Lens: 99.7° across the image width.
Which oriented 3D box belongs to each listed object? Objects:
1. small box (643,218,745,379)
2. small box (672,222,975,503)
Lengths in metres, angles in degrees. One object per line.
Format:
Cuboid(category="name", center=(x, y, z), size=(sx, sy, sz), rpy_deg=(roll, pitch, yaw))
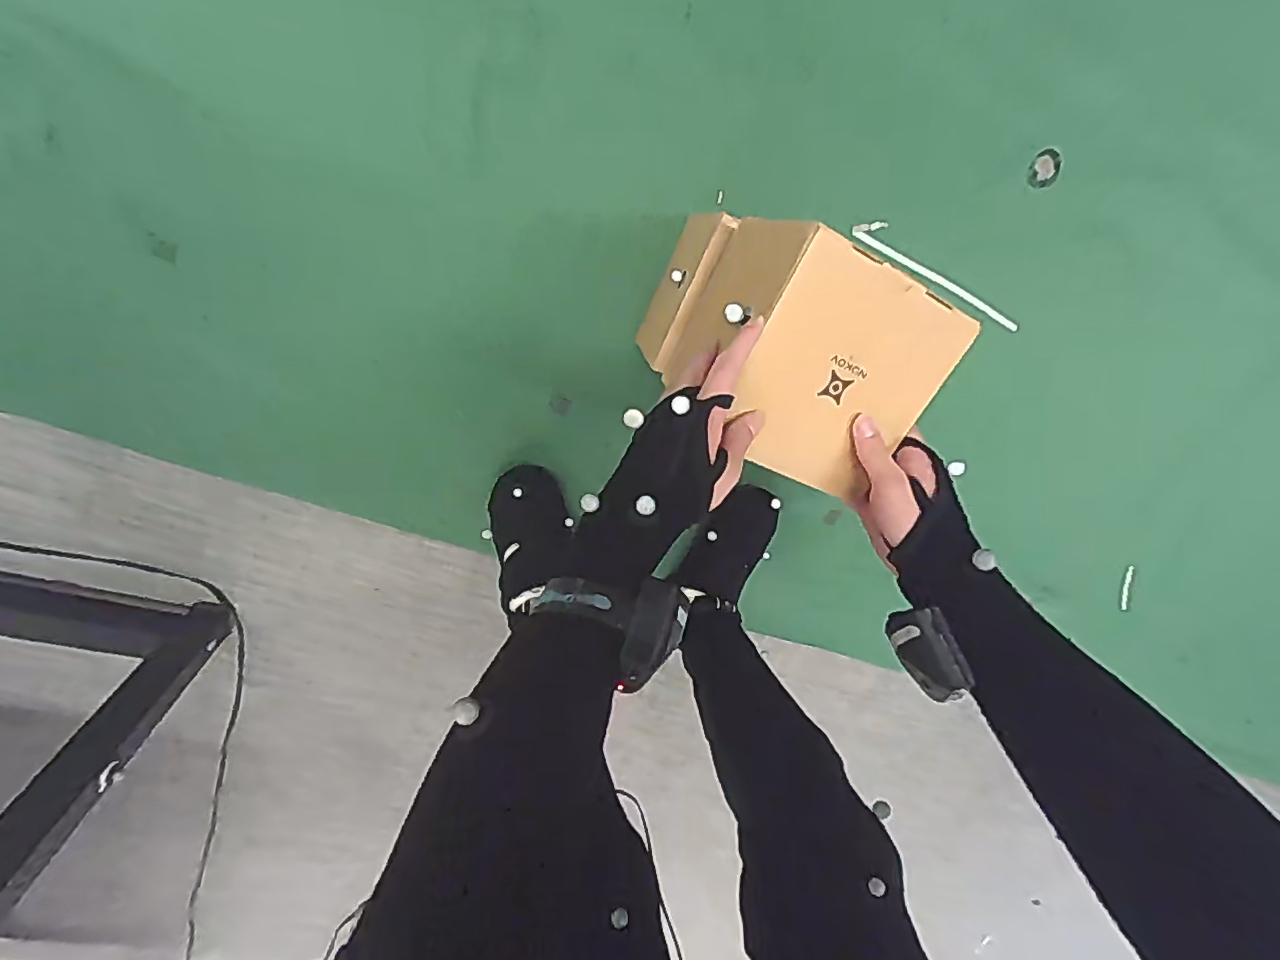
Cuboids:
Cuboid(category="small box", center=(0.113, -0.204, 0.671), size=(0.168, 0.176, 0.179), rpy_deg=(20, 113, -16))
Cuboid(category="small box", center=(0.143, -0.113, 0.495), size=(0.168, 0.176, 0.179), rpy_deg=(21, 110, -19))
